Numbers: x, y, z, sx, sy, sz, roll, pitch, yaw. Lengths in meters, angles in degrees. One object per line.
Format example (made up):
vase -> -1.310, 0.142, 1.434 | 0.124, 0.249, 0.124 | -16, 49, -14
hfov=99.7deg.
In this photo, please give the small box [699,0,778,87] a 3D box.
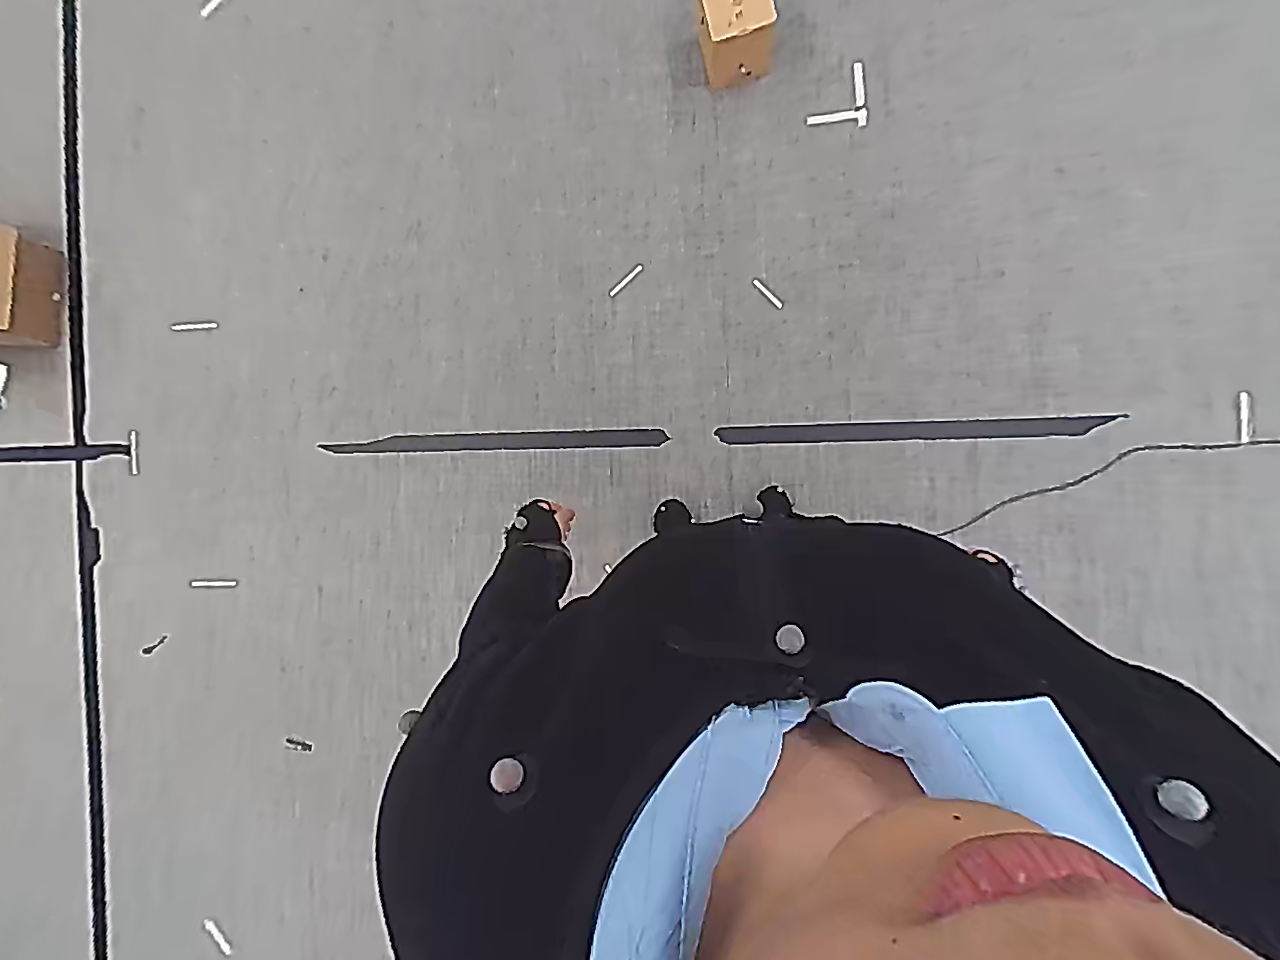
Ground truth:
small box -> 0.250, -1.189, 1.416 | 0.168, 0.176, 0.179 | -14, 88, 7
